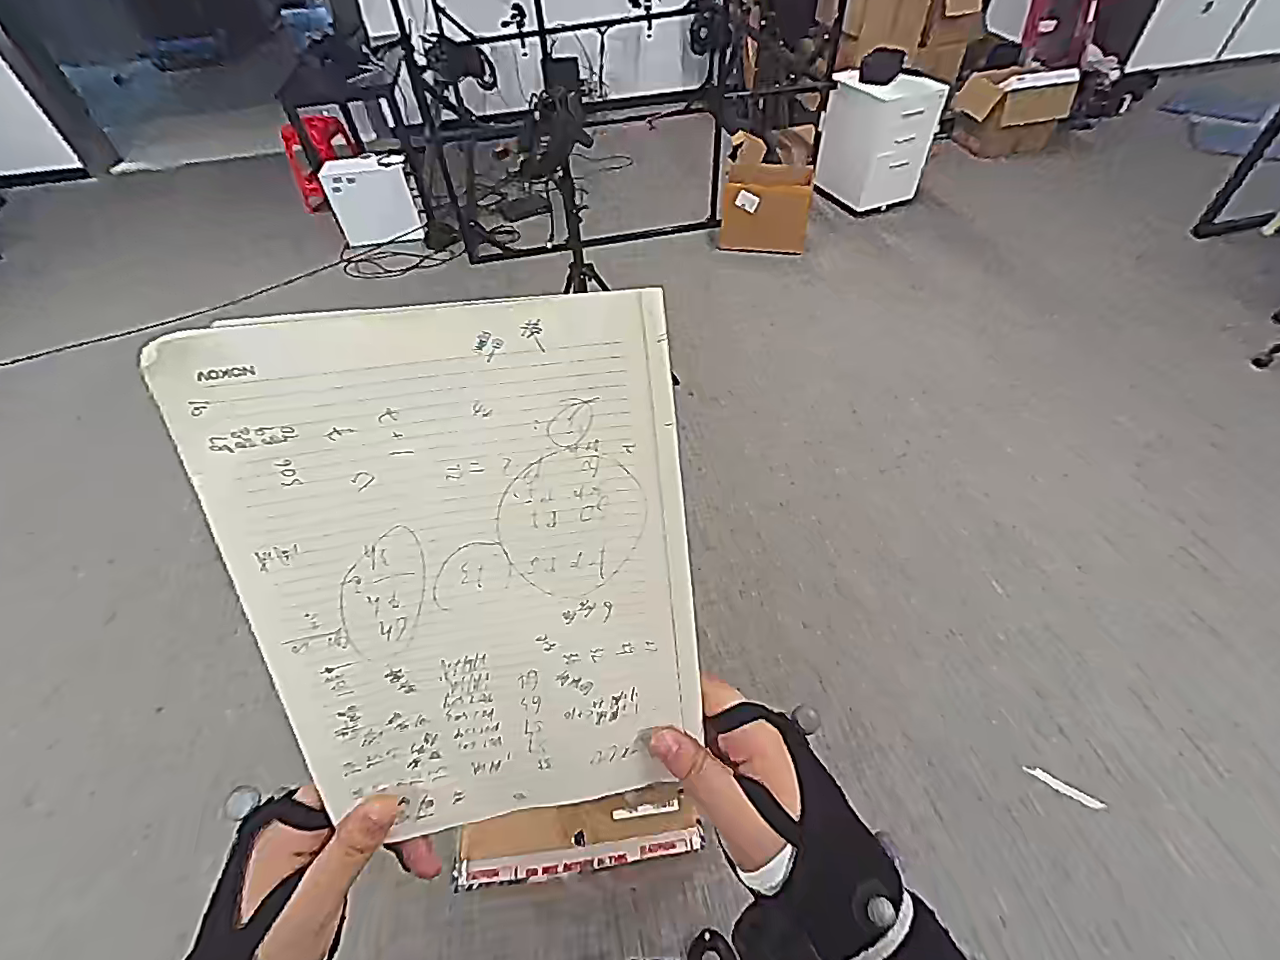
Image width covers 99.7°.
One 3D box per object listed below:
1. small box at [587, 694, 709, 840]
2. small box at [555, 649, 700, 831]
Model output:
[{"bbox_3d":[-0.001,0.446,0.847,0.179,0.176,0.168,-8,50,-5],"label":"small box"},{"bbox_3d":[-0.021,0.345,0.717,0.168,0.176,0.179,-4,51,-4],"label":"small box"}]
